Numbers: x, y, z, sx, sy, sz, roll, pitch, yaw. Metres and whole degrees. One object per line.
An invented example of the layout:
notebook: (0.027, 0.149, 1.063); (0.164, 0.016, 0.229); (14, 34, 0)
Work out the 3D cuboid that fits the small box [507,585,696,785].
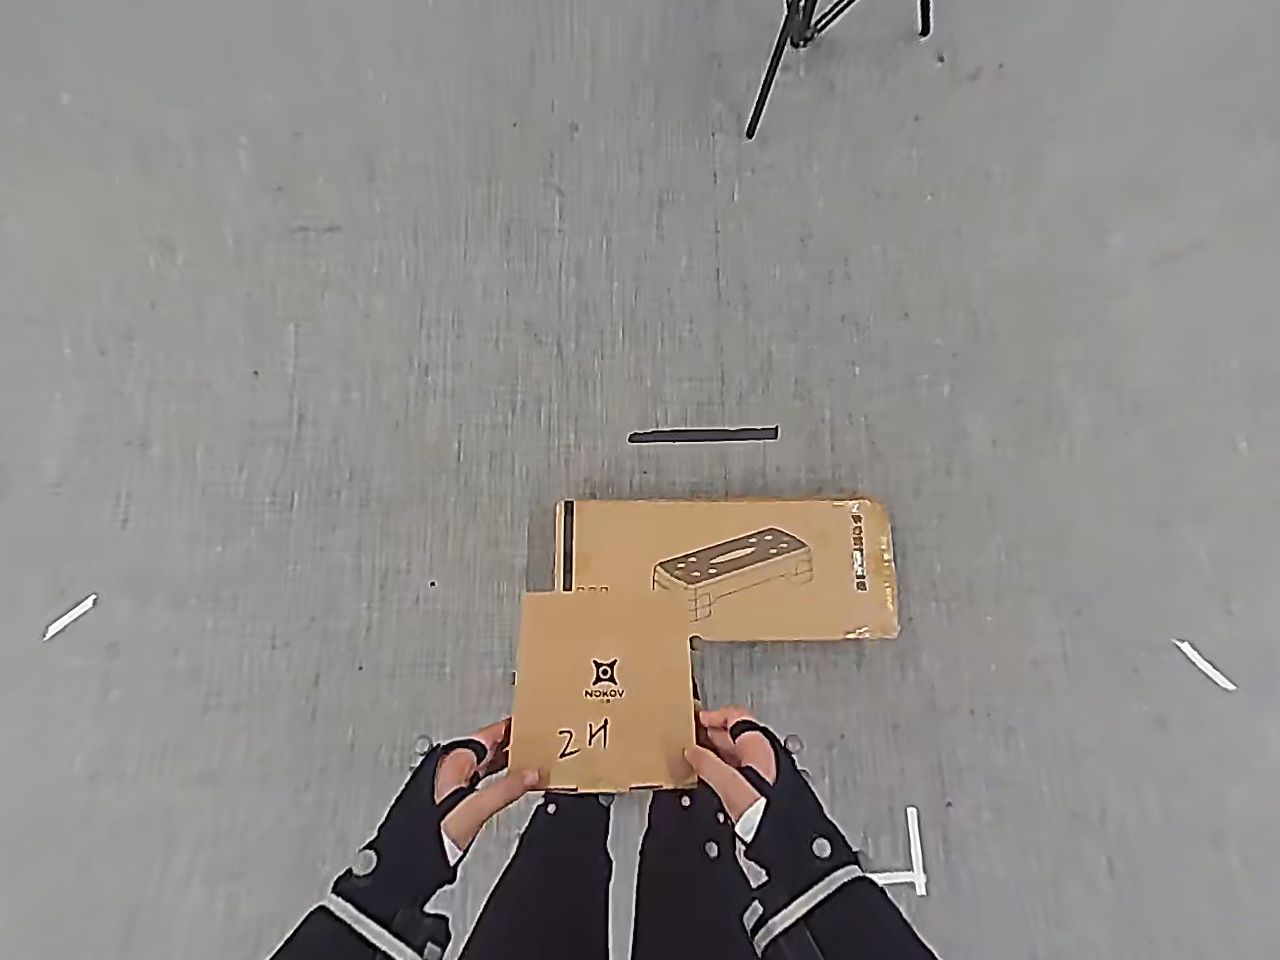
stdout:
small box: (-0.035, 0.221, 0.572); (0.168, 0.176, 0.179); (-1, 62, -1)
